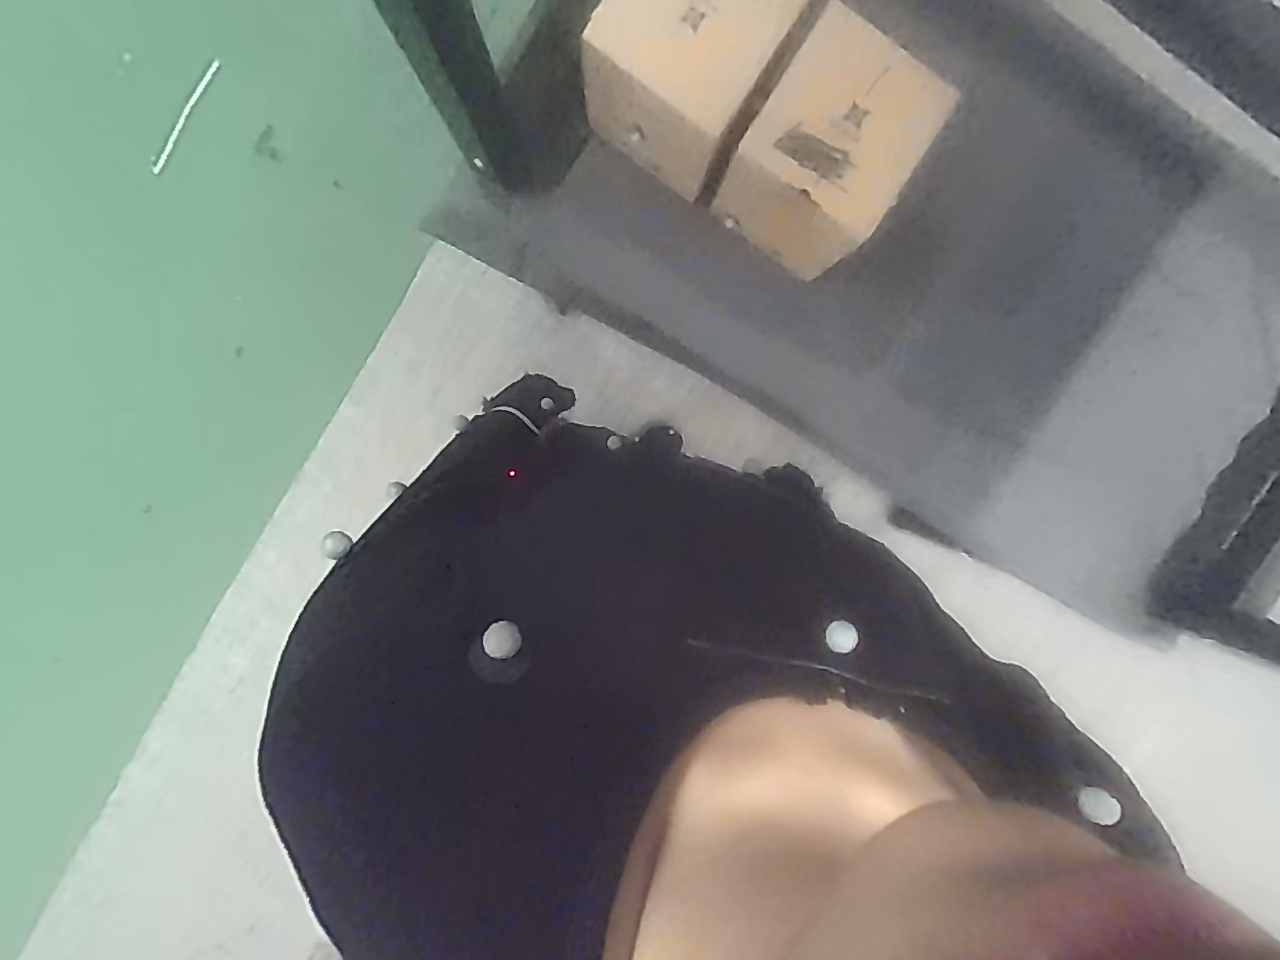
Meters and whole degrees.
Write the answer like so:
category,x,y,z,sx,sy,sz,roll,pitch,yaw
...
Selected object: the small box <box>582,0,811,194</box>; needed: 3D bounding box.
category,x,y,z,sx,sy,sz,roll,pitch,yaw
small box,0.054,-0.463,0.602,0.168,0.176,0.179,34,94,-7
